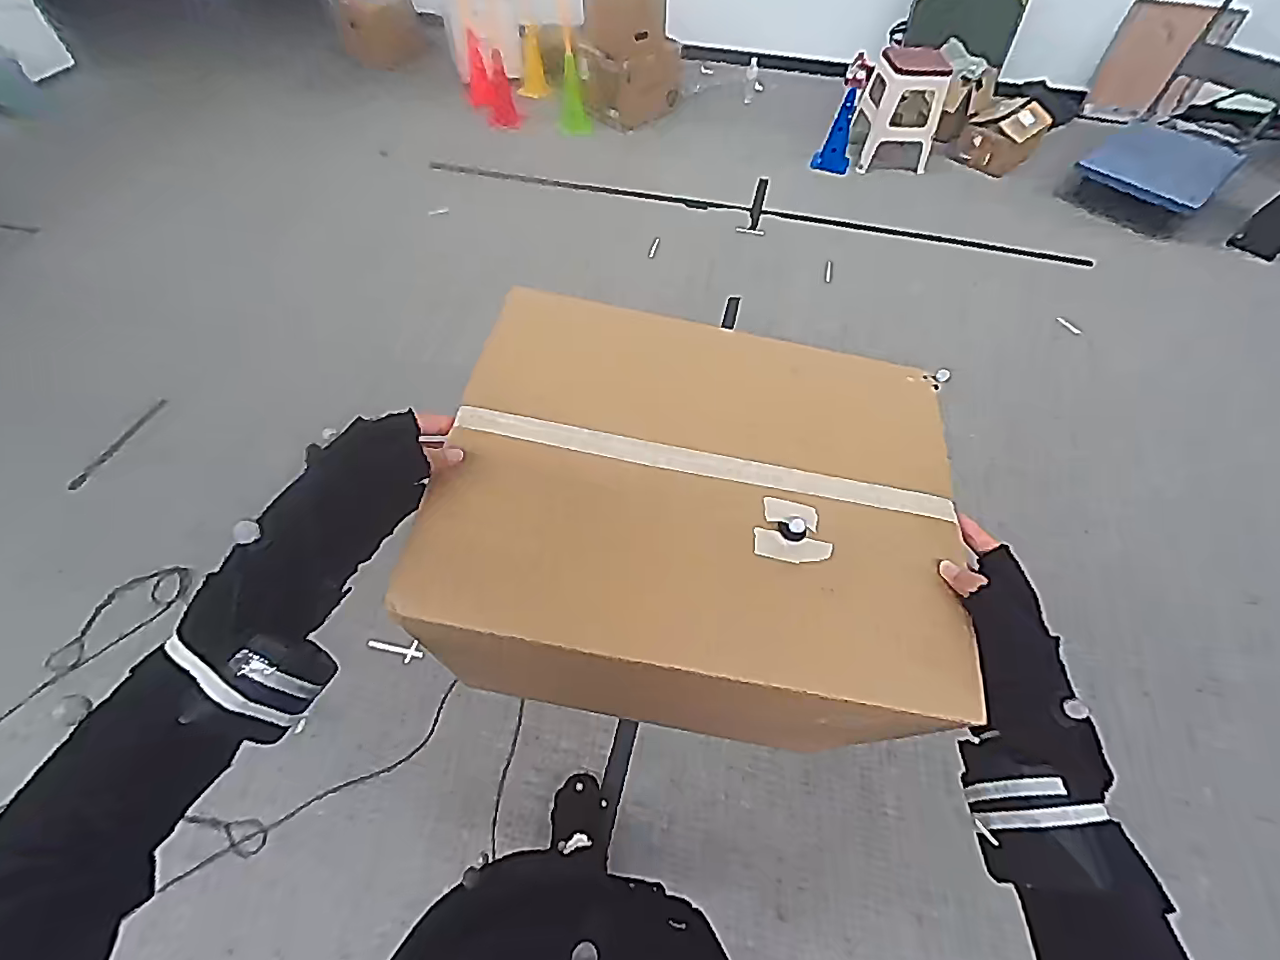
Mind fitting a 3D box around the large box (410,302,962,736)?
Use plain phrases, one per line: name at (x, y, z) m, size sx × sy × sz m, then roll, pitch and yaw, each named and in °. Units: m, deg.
large box at (0.036, 0.064, 0.577) m, size 0.408 × 0.320 × 0.320 m, roll 11°, pitch 60°, yaw -2°
